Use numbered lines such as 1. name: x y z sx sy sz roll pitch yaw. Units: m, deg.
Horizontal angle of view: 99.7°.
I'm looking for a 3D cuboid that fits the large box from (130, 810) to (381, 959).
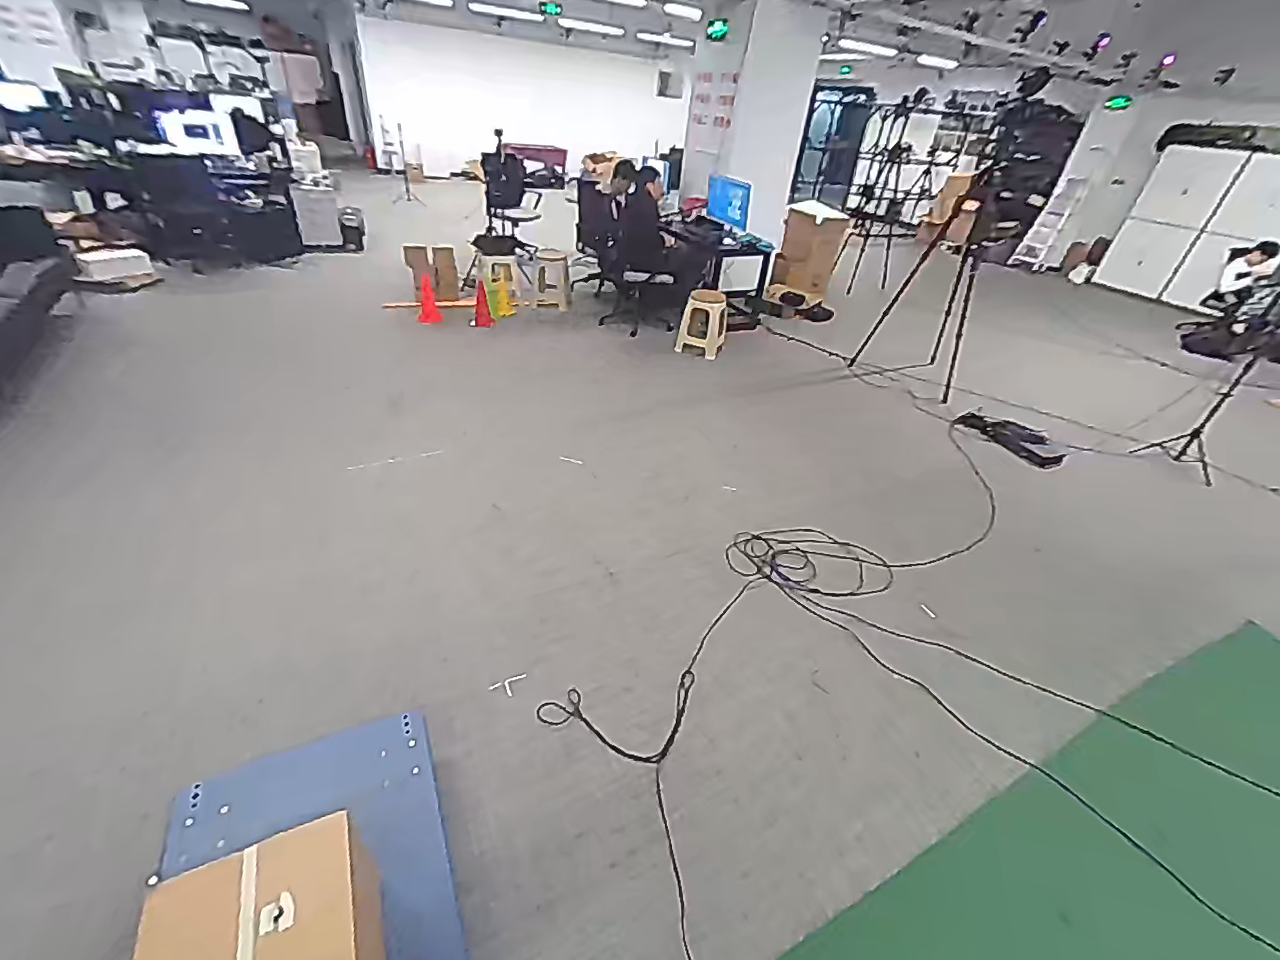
1. large box: -0.639 0.898 0.935 0.320 0.320 0.408 -11 39 -25
